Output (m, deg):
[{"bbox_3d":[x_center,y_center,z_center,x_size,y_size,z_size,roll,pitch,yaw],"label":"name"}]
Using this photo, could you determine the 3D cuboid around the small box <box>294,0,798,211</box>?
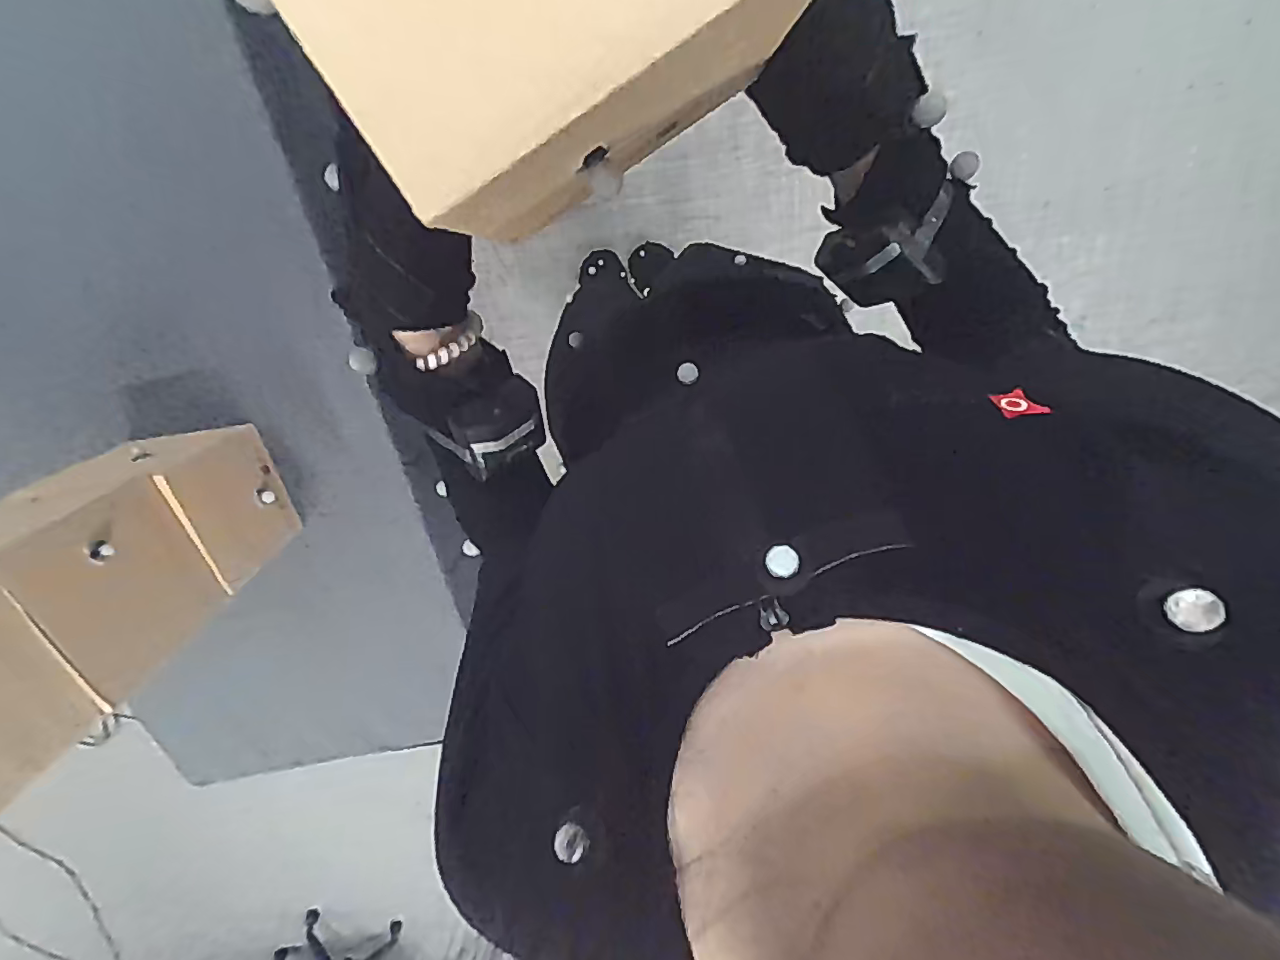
[{"bbox_3d":[-0.041,-0.224,0.204,0.168,0.176,0.179,-29,109,9],"label":"small box"}]

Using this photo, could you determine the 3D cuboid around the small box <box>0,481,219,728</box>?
[{"bbox_3d":[-0.580,0.112,0.532,0.168,0.176,0.179,-10,114,4],"label":"small box"}]

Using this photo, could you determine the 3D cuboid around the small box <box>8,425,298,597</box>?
[{"bbox_3d":[-0.582,0.041,0.678,0.179,0.176,0.168,-8,114,1],"label":"small box"}]
